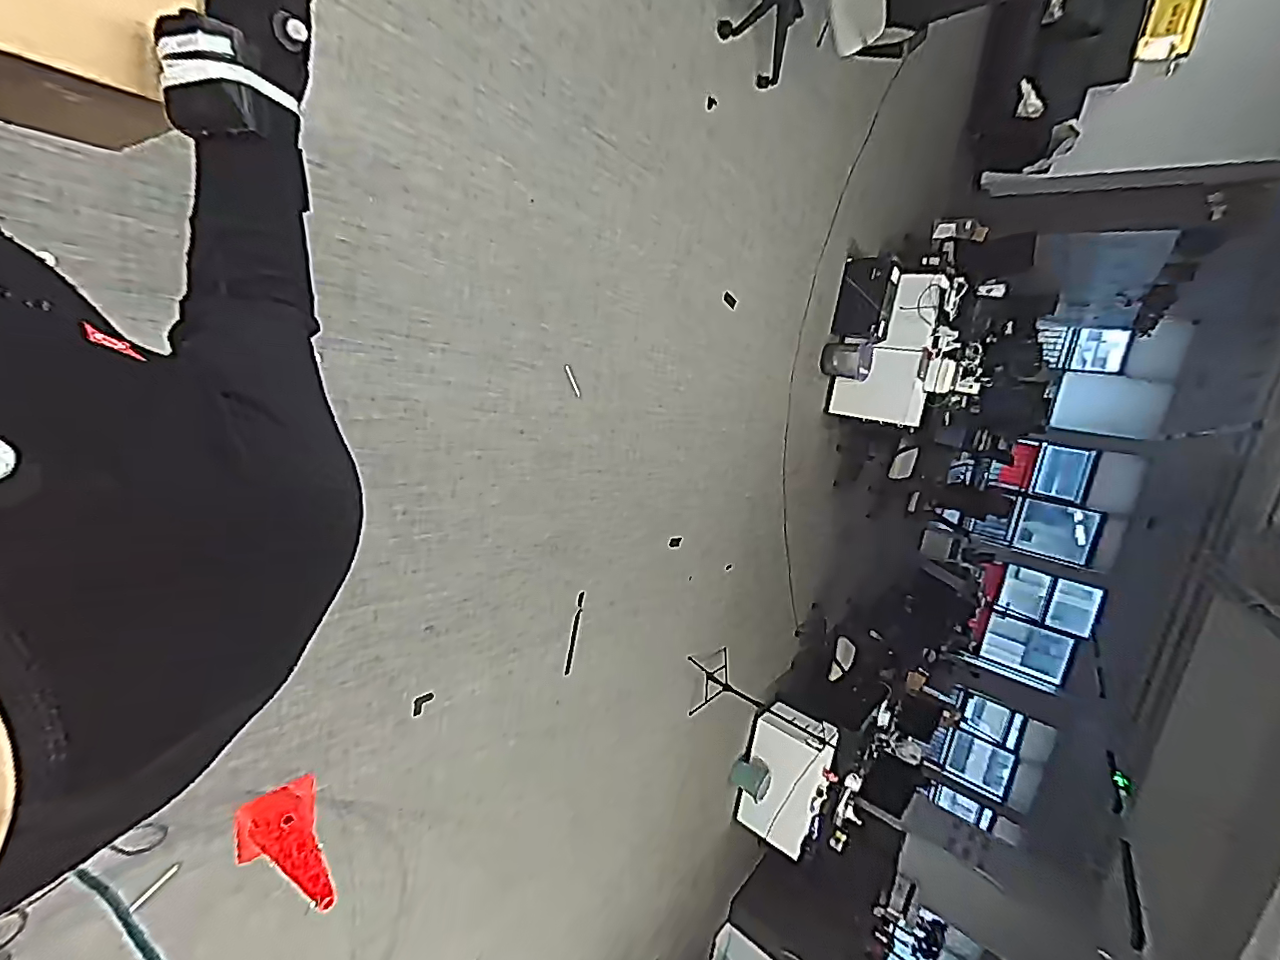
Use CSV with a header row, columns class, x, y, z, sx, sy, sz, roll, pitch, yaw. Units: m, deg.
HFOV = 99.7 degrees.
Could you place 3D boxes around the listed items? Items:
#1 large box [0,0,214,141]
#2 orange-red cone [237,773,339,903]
class,x,y,z,sx,sy,sz,roll,pitch,yaw
large box,-0.535,-0.433,0.291,0.408,0.320,0.320,-11,115,-52
orange-red cone,-0.918,1.011,1.468,0.198,0.360,0.199,-8,109,-52
